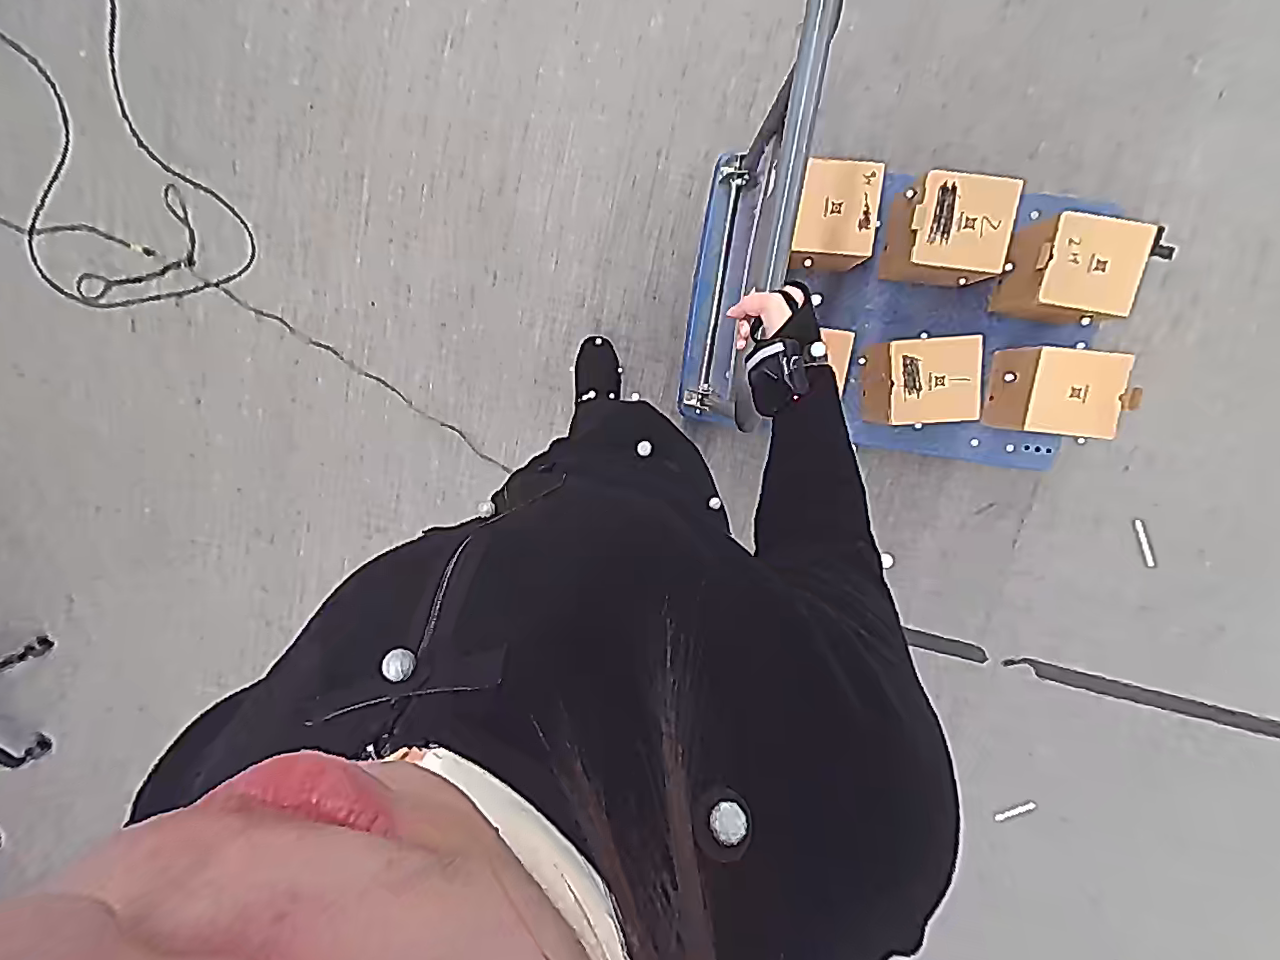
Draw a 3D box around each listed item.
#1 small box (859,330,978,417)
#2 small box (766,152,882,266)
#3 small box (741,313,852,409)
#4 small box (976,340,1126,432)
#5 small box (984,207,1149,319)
[{"bbox_3d":[0.579,-0.223,1.147,0.179,0.176,0.168,-3,100,3],"label":"small box"},{"bbox_3d":[0.361,-0.540,1.097,0.179,0.176,0.168,6,102,2],"label":"small box"},{"bbox_3d":[0.322,-0.250,1.155,0.179,0.176,0.168,9,101,0],"label":"small box"},{"bbox_3d":[0.850,-0.197,1.139,0.179,0.176,0.168,6,101,2],"label":"small box"},{"bbox_3d":[0.847,-0.427,1.093,0.179,0.176,0.168,11,100,1],"label":"small box"}]
